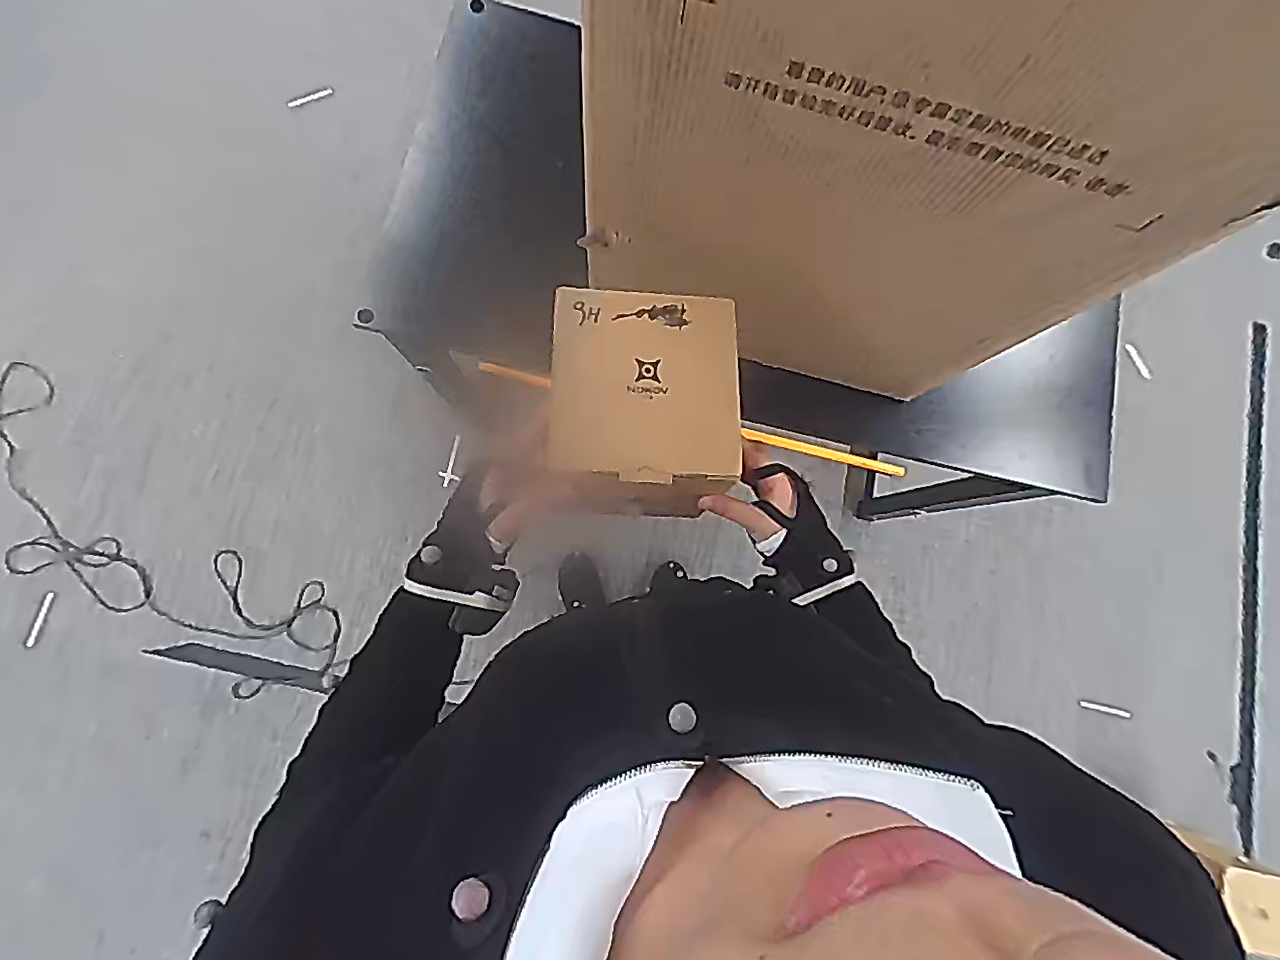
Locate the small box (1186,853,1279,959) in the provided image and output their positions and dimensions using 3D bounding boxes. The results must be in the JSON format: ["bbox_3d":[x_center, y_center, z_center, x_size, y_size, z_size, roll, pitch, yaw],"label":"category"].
[{"bbox_3d":[1.387,0.970,1.203,0.179,0.176,0.168,12,80,-3],"label":"small box"}]

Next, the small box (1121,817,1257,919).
[{"bbox_3d":[1.383,0.988,1.368,0.179,0.176,0.168,12,81,-2],"label":"small box"}]
